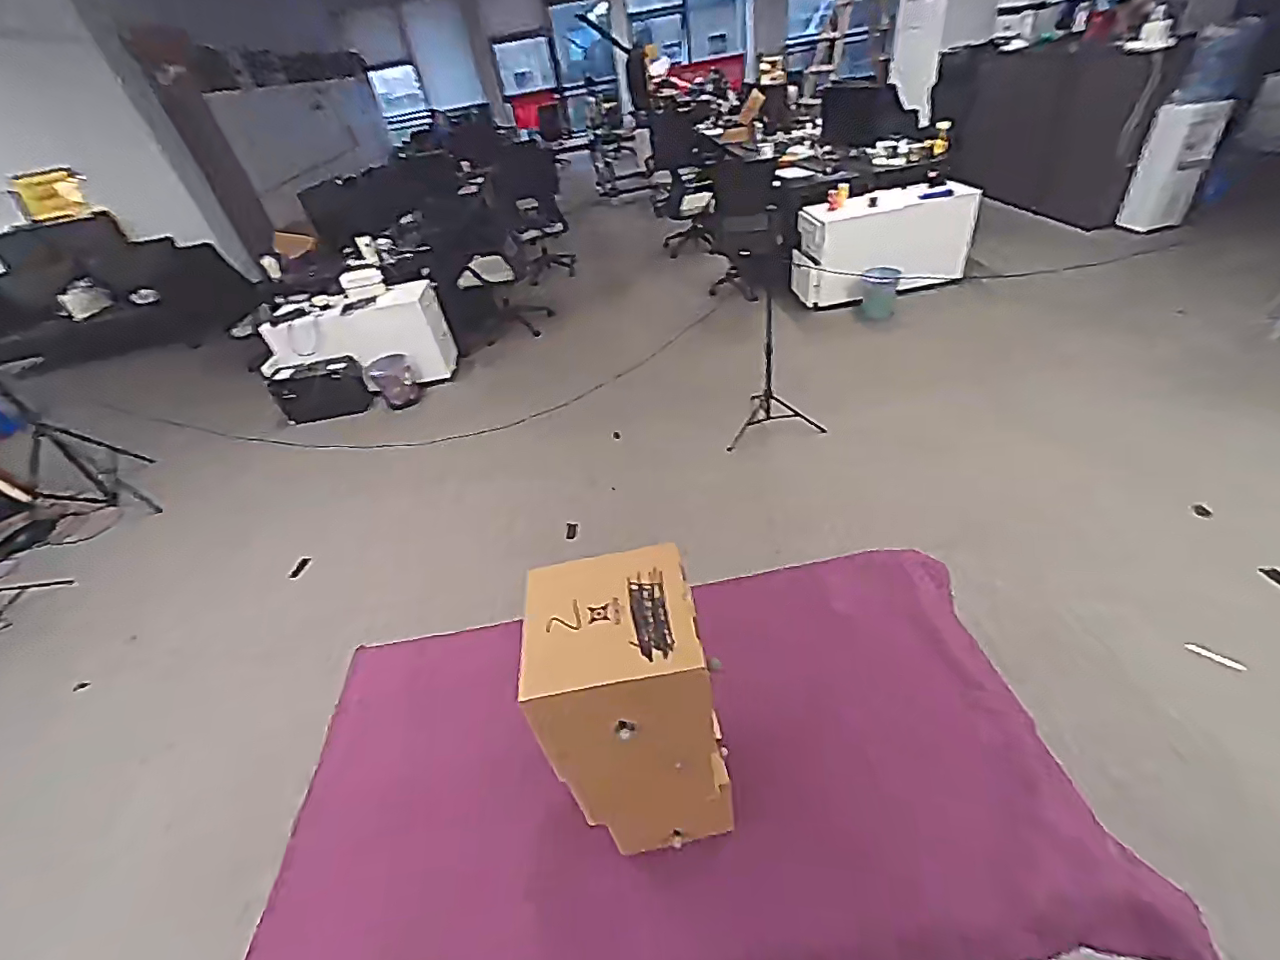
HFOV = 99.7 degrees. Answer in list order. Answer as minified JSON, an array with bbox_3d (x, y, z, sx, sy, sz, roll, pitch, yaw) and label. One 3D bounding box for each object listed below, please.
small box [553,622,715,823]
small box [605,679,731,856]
[{"bbox_3d":[-0.008,0.320,0.712,0.179,0.176,0.168,-12,38,-2],"label":"small box"},{"bbox_3d":[0.033,0.436,0.821,0.179,0.176,0.168,-12,37,-2],"label":"small box"}]
